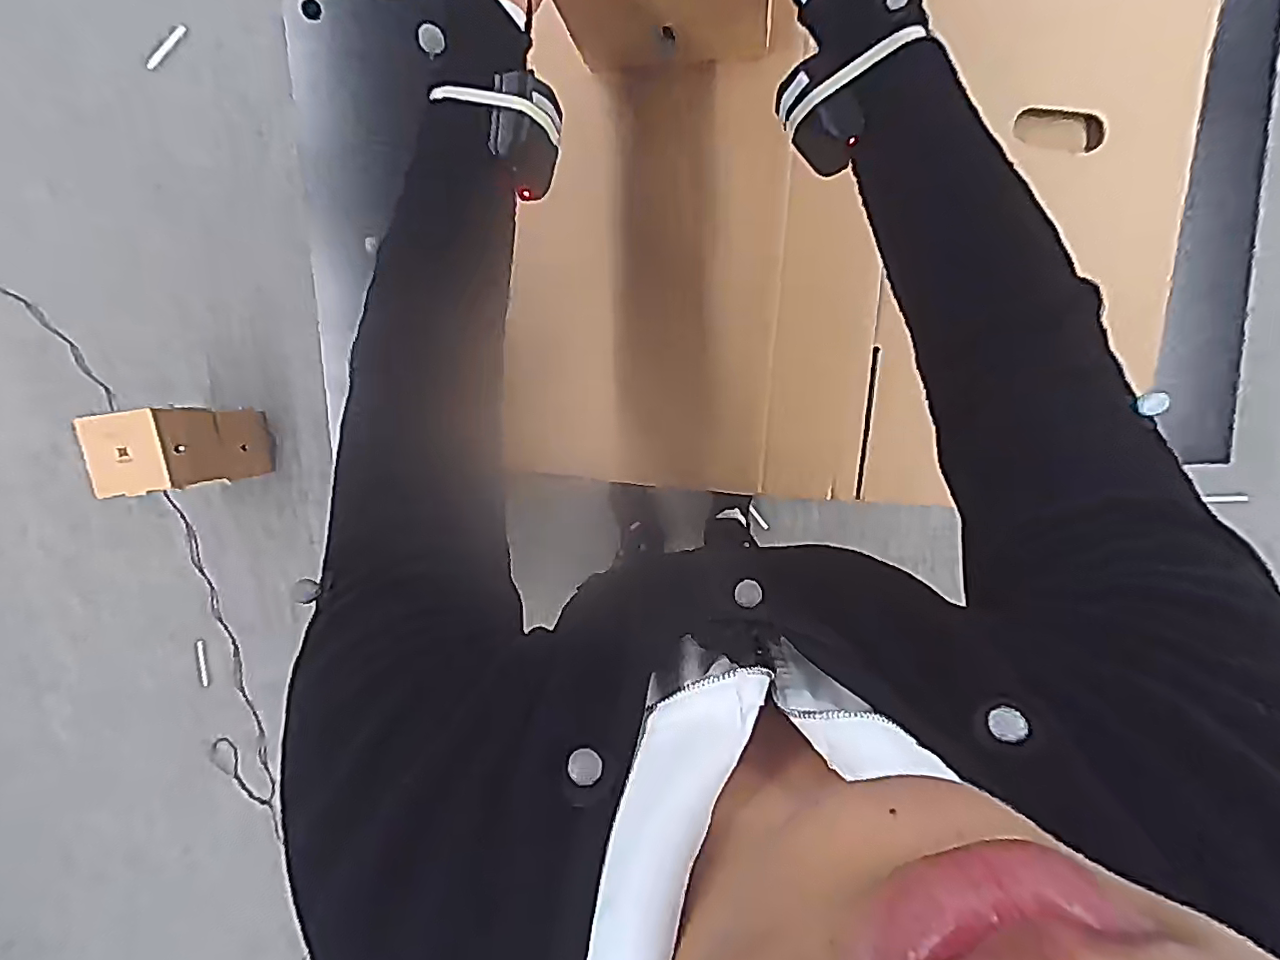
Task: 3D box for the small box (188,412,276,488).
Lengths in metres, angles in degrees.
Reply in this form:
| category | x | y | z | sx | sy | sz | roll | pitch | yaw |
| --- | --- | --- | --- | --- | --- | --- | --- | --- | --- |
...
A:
| category | x | y | z | sx | sy | sz | roll | pitch | yaw |
| --- | --- | --- | --- | --- | --- | --- | --- | --- | --- |
| small box | -1.080 | -0.080 | 1.387 | 0.168 | 0.176 | 0.179 | -6 | 99 | 1 |

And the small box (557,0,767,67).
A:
| category | x | y | z | sx | sy | sz | roll | pitch | yaw |
| --- | --- | --- | --- | --- | --- | --- | --- | --- | --- |
| small box | 0.020 | -0.469 | 0.429 | 0.179 | 0.176 | 0.168 | 4 | 97 | 11 |

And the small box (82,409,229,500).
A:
| category | x | y | z | sx | sy | sz | roll | pitch | yaw |
| --- | --- | --- | --- | --- | --- | --- | --- | --- | --- |
| small box | -1.082 | -0.063 | 1.225 | 0.168 | 0.176 | 0.179 | -8 | 97 | 1 |
